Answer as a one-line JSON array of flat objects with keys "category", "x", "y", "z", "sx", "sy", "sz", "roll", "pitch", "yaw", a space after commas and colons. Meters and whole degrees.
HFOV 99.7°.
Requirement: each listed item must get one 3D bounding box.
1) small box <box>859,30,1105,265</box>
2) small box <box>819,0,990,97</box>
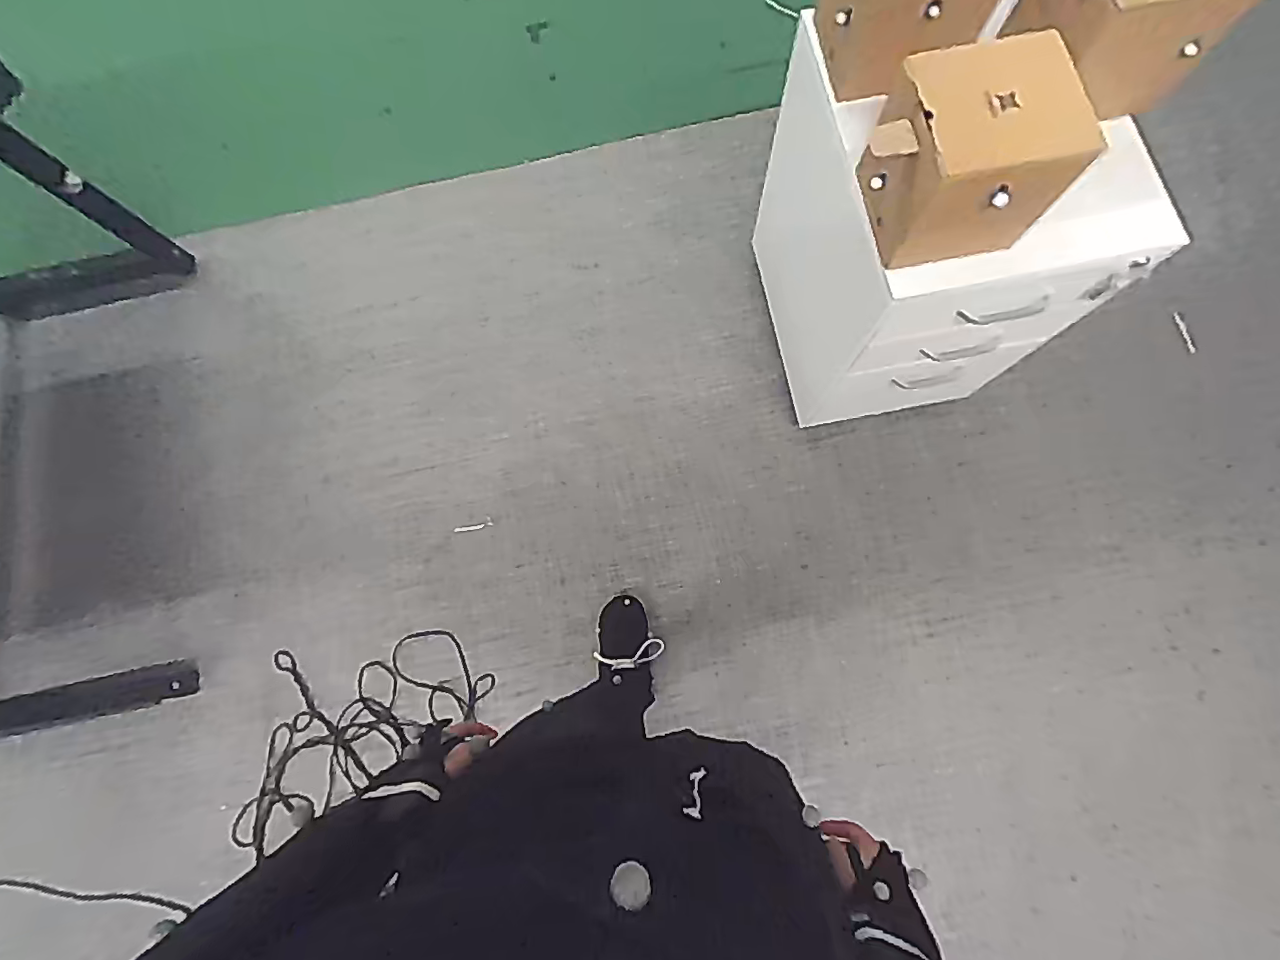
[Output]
[{"category": "small box", "x": 0.399, "y": -0.394, "z": 0.666, "sx": 0.179, "sy": 0.176, "sz": 0.168, "roll": -10, "pitch": 77, "yaw": 1}, {"category": "small box", "x": 0.356, "y": -0.659, "z": 0.729, "sx": 0.179, "sy": 0.176, "sz": 0.168, "roll": -9, "pitch": 79, "yaw": 0}]
